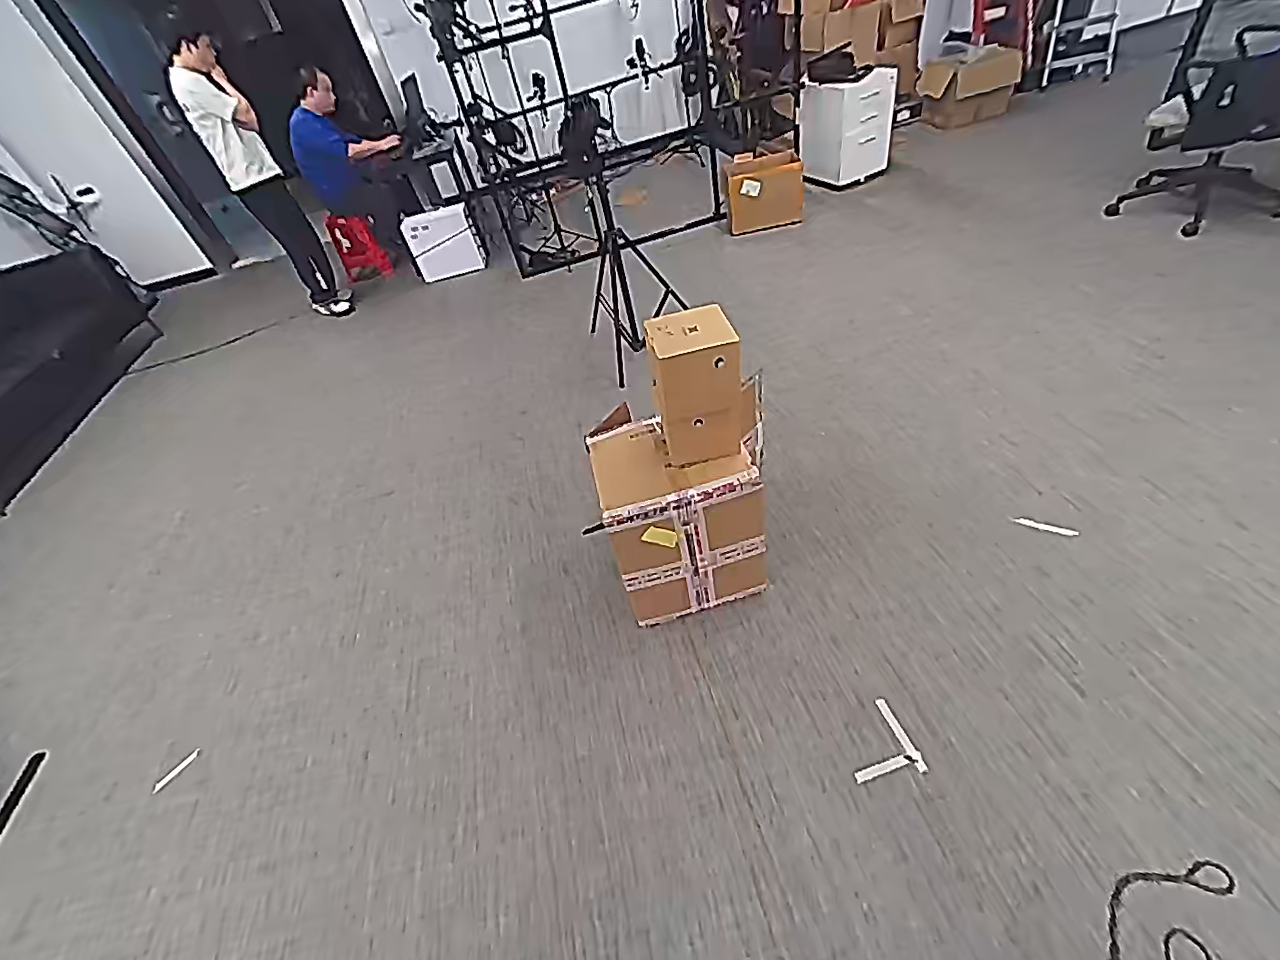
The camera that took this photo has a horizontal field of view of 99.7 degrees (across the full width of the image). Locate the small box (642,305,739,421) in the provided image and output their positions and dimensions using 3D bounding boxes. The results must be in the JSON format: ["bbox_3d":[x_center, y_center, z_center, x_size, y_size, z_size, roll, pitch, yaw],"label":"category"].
[{"bbox_3d":[0.113,-0.257,1.201,0.179,0.176,0.168,-14,45,-1],"label":"small box"}]

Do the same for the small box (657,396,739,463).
[{"bbox_3d":[0.138,-0.161,1.335,0.179,0.176,0.168,-12,45,1],"label":"small box"}]
